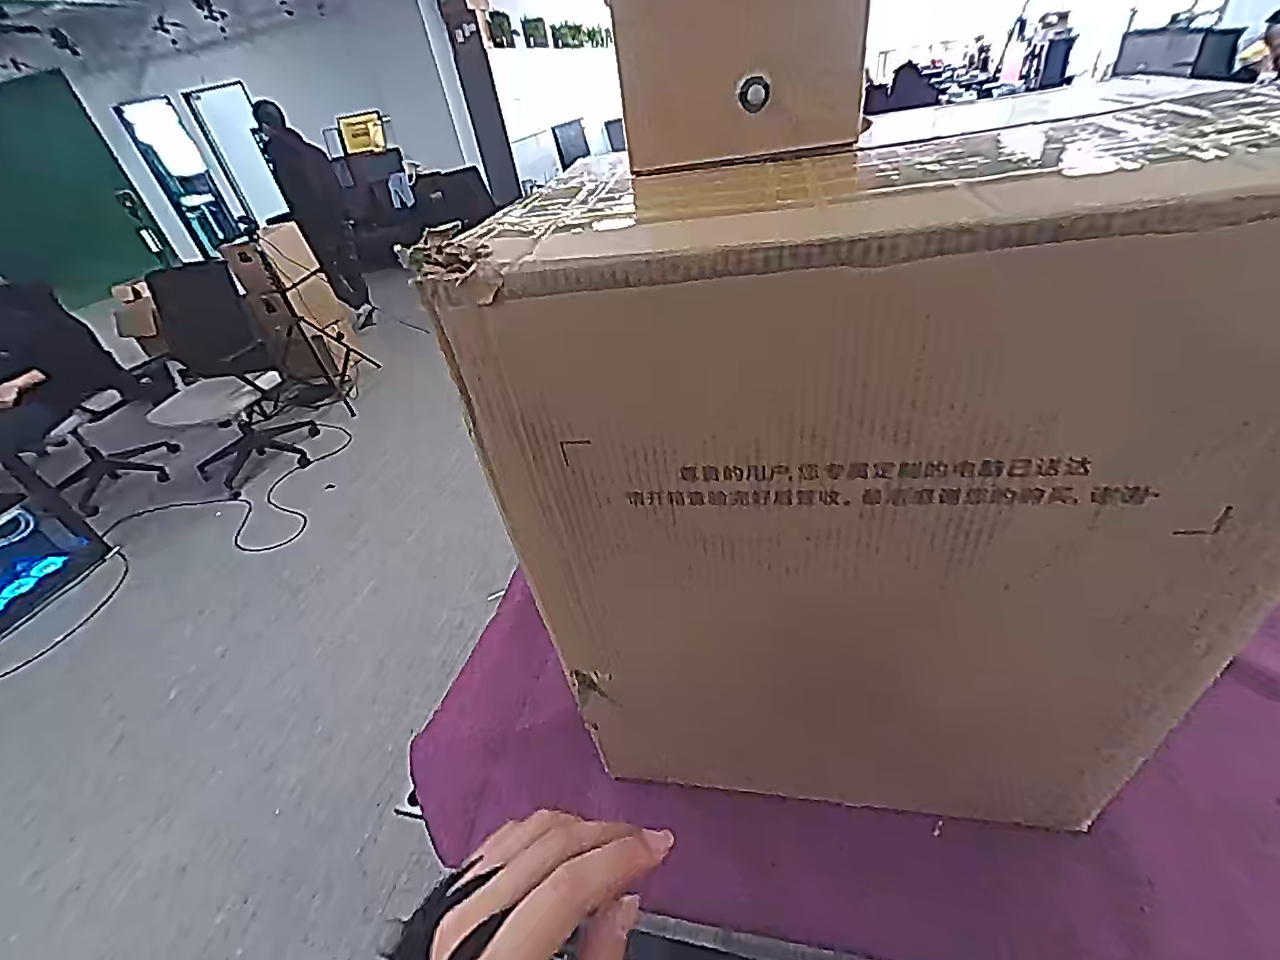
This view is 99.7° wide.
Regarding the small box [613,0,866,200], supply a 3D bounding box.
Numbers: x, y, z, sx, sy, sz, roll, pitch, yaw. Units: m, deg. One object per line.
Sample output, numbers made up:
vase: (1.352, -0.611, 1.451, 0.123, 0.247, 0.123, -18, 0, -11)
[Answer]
small box: (0.080, -0.349, 0.444, 0.179, 0.176, 0.168, -1, 37, 11)
